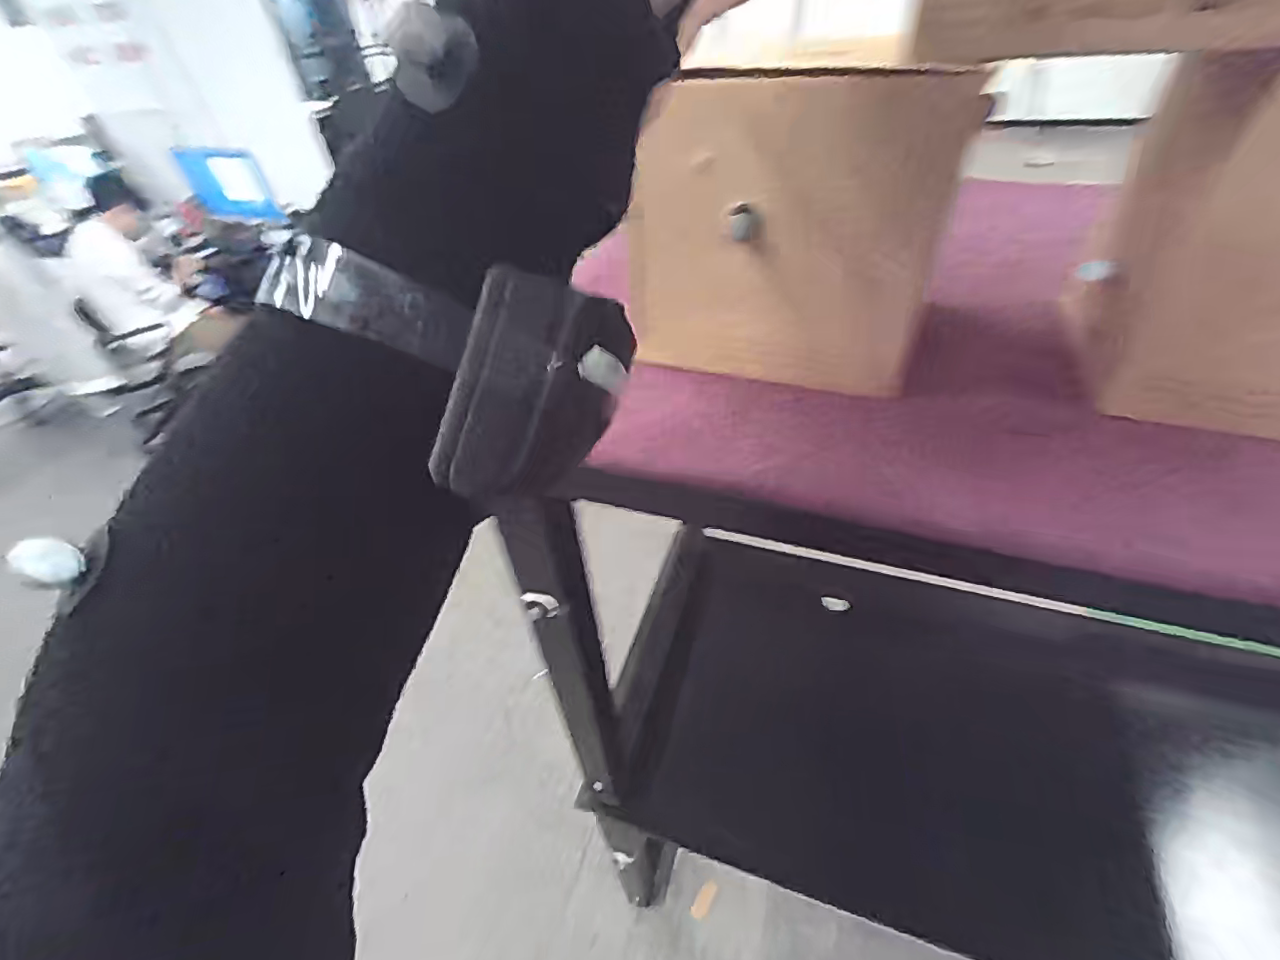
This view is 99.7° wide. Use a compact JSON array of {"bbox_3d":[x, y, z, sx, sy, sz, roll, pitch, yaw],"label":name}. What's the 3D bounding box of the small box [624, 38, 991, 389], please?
[{"bbox_3d":[0.105,-0.179,0.363,0.179,0.176,0.168,14,45,18],"label":"small box"}]
